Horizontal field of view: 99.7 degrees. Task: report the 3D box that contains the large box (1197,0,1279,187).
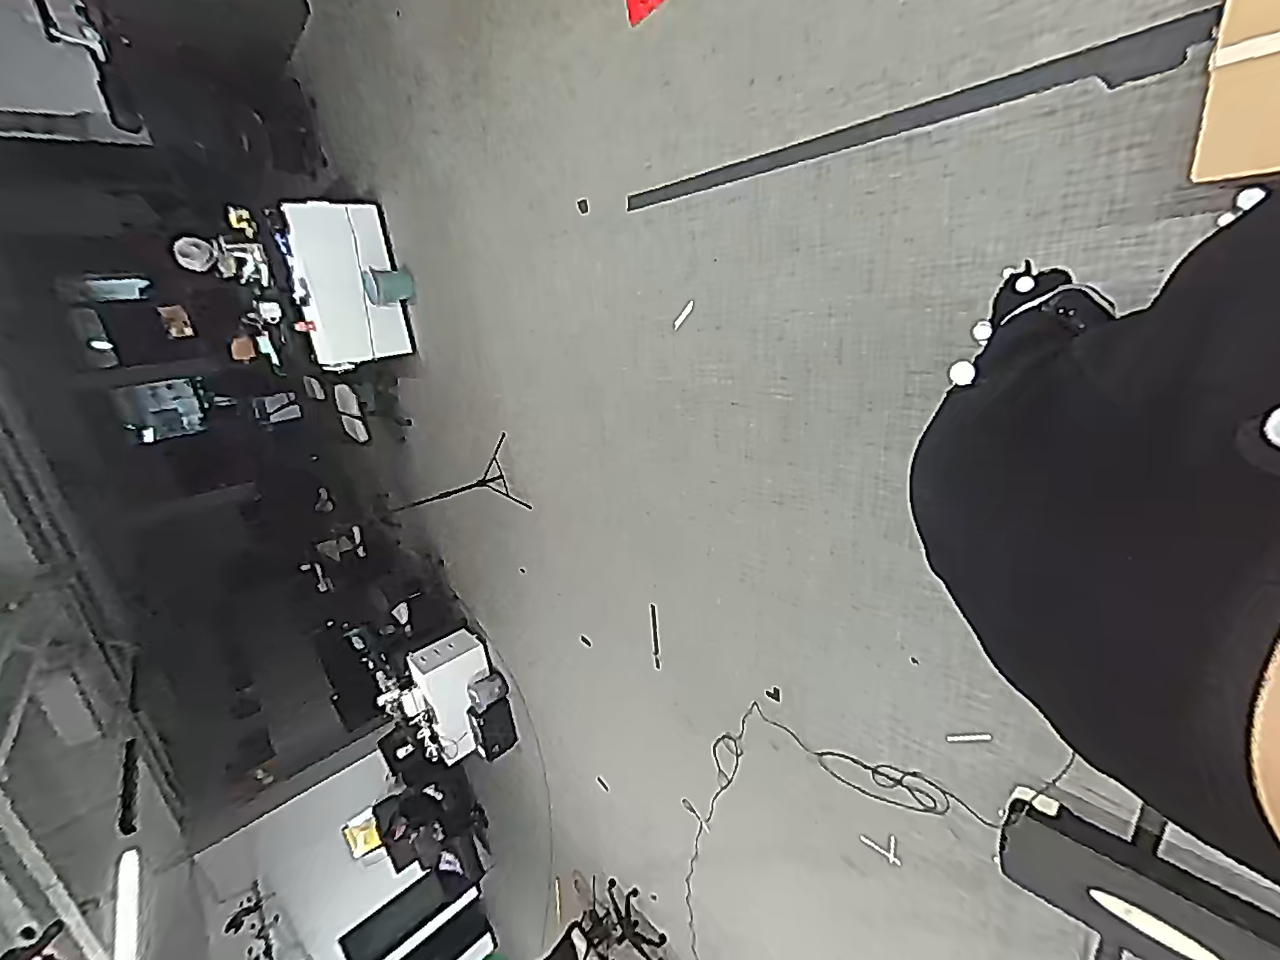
[{"bbox_3d":[1.032,-0.593,0.691,0.408,0.320,0.320,14,119,45],"label":"large box"}]
